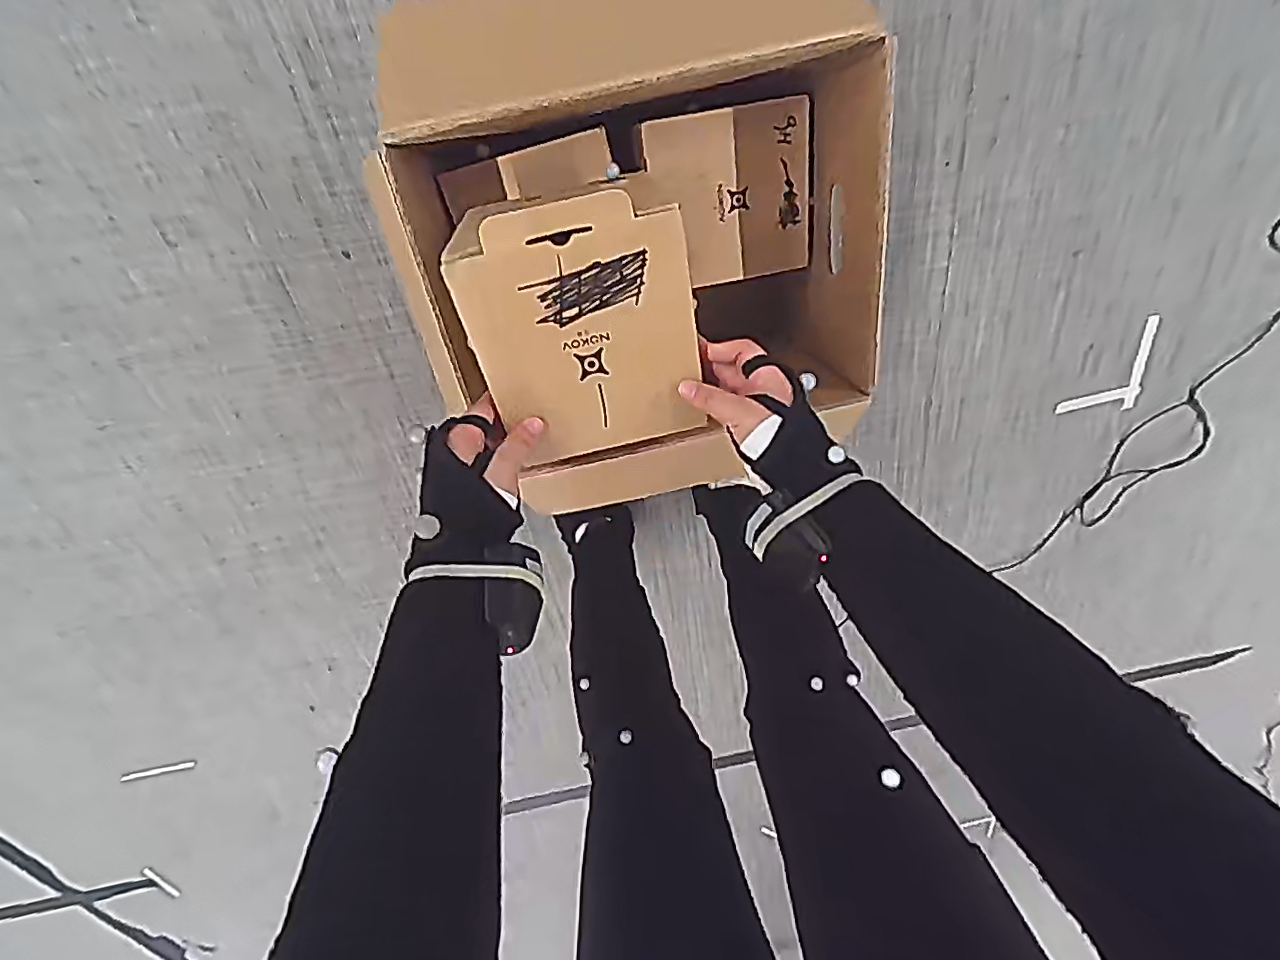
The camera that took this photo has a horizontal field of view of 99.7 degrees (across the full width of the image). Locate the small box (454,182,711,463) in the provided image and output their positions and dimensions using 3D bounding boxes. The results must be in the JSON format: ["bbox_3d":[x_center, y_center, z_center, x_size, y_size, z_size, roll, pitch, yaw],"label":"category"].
[{"bbox_3d":[-0.043,-0.144,0.467,0.168,0.176,0.179,-12,127,0],"label":"small box"}]
